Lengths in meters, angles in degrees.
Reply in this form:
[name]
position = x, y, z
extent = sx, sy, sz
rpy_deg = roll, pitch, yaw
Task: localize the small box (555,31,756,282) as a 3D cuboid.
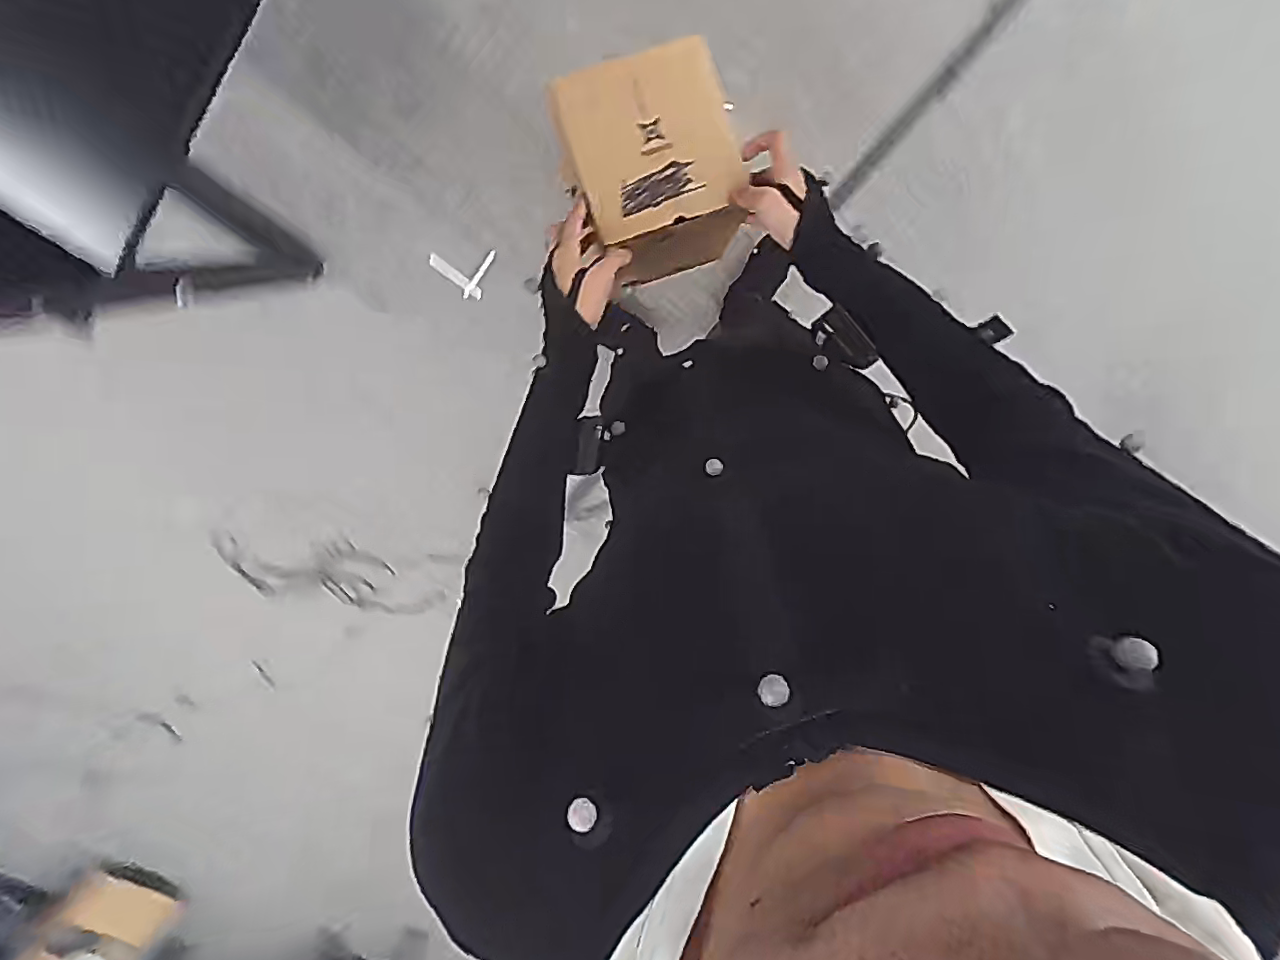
[small box]
position = 0.013, -0.345, 0.619
extent = 0.168, 0.176, 0.179
rpy_deg = -18, 93, -3
